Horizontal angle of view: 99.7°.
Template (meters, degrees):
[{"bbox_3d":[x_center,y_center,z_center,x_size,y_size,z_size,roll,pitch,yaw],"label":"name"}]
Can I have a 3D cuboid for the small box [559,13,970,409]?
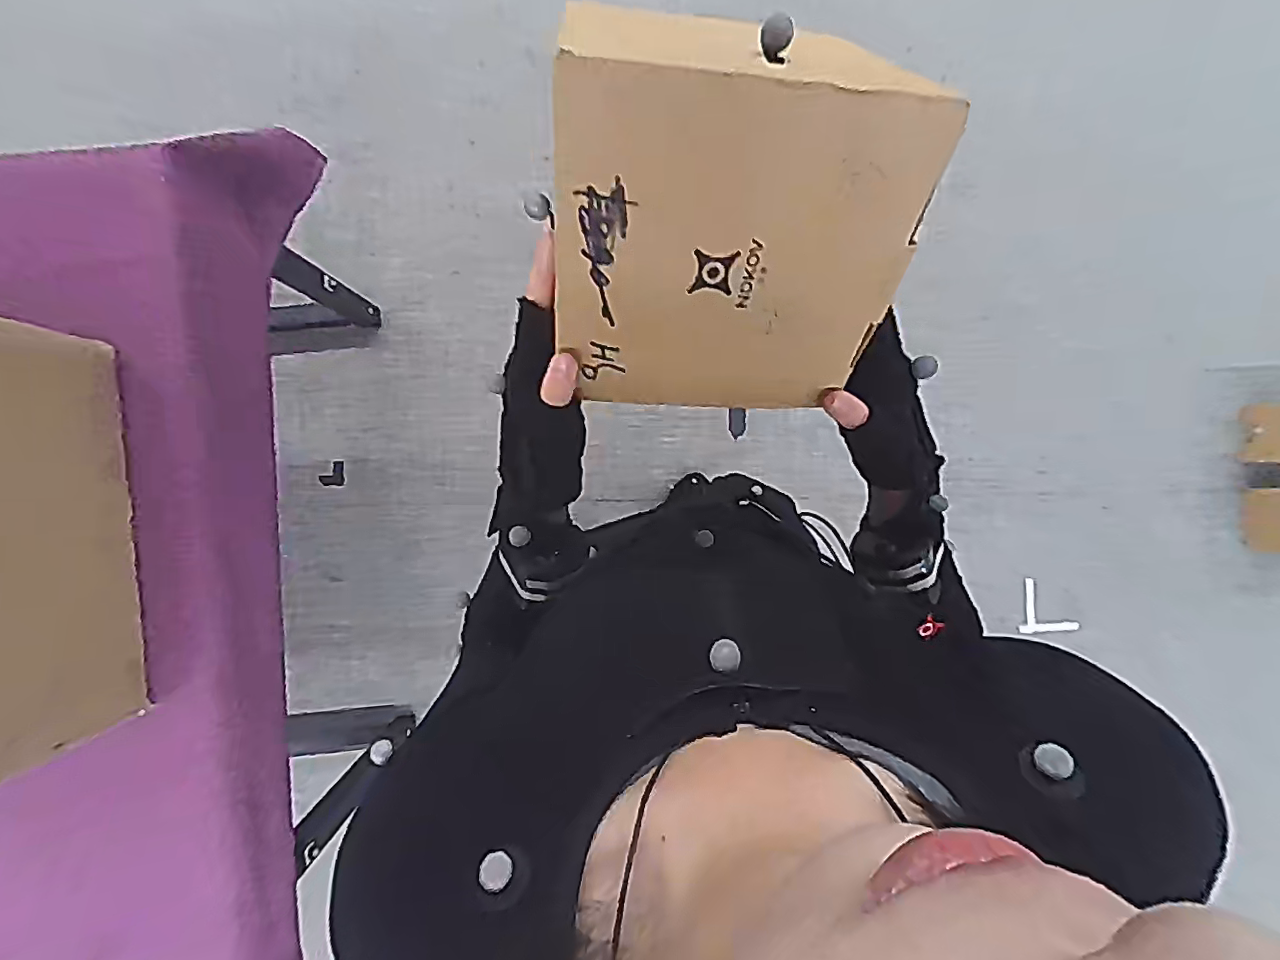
[{"bbox_3d":[0.041,-0.161,0.328,0.179,0.176,0.168,1,135,-8],"label":"small box"}]

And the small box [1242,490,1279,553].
[{"bbox_3d":[1.840,0.115,1.500,0.168,0.176,0.179,-2,91,0],"label":"small box"}]

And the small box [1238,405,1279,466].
[{"bbox_3d":[1.835,-0.124,1.496,0.179,0.176,0.168,1,90,-1],"label":"small box"}]
